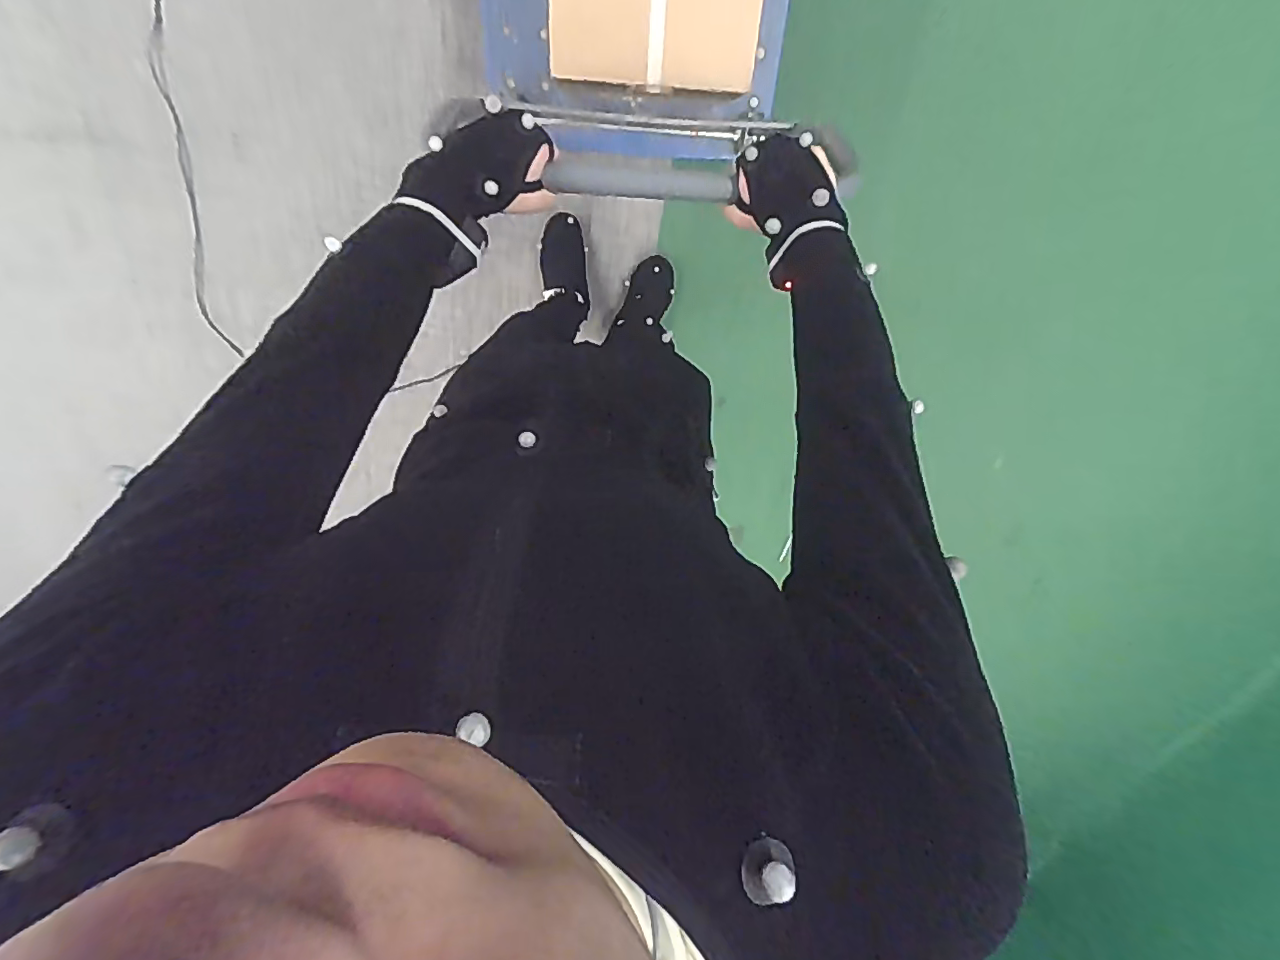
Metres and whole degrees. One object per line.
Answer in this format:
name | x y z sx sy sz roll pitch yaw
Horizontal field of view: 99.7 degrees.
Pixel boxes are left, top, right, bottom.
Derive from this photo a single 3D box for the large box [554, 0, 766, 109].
large box | 0.029 -0.854 0.867 0.320 0.320 0.408 2 121 -4
